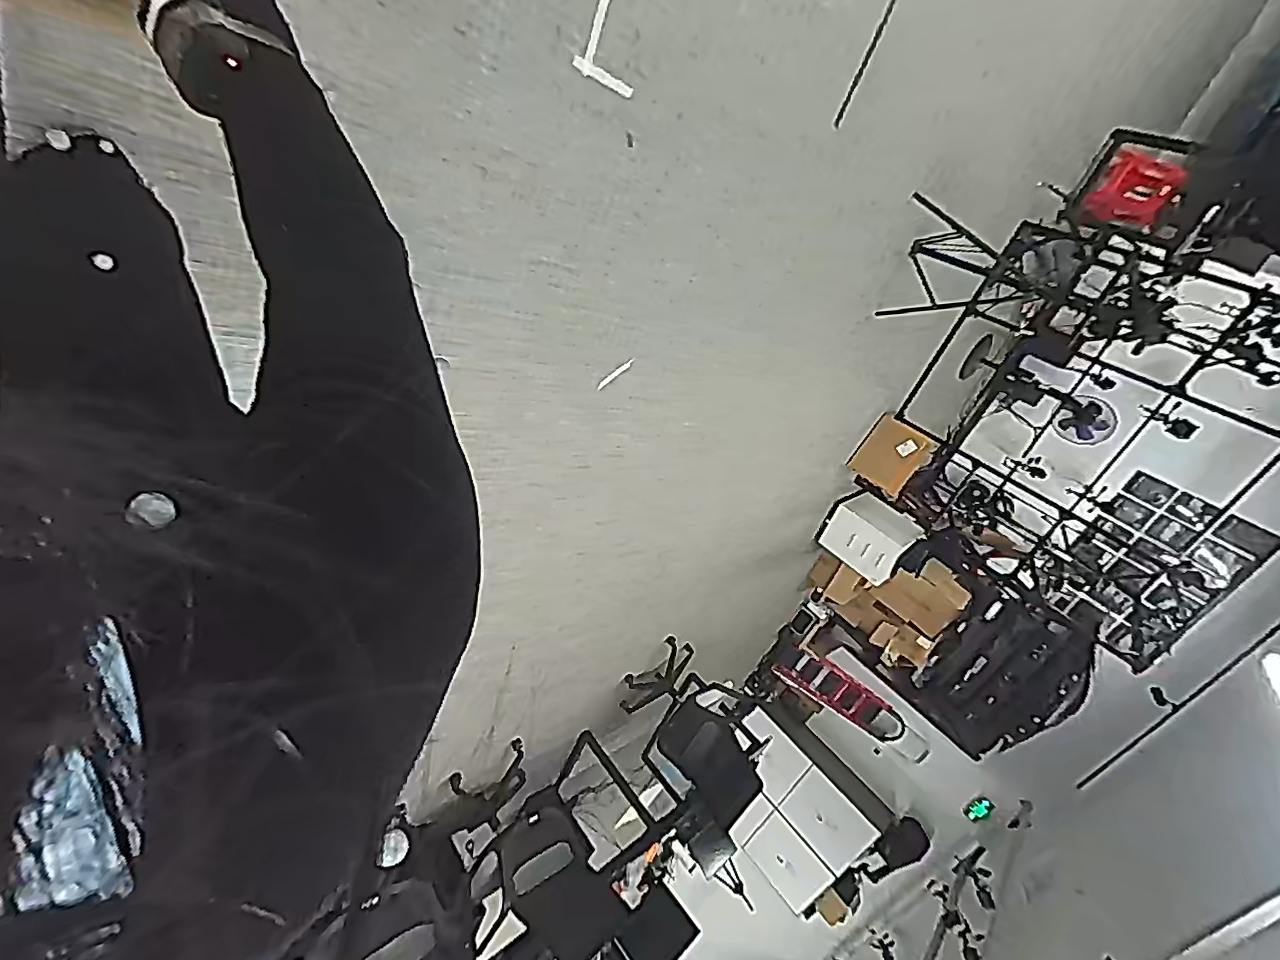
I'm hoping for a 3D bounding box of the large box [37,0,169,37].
[{"bbox_3d":[-0.574,-0.557,0.338,0.408,0.320,0.320,-4,118,-41],"label":"large box"}]
